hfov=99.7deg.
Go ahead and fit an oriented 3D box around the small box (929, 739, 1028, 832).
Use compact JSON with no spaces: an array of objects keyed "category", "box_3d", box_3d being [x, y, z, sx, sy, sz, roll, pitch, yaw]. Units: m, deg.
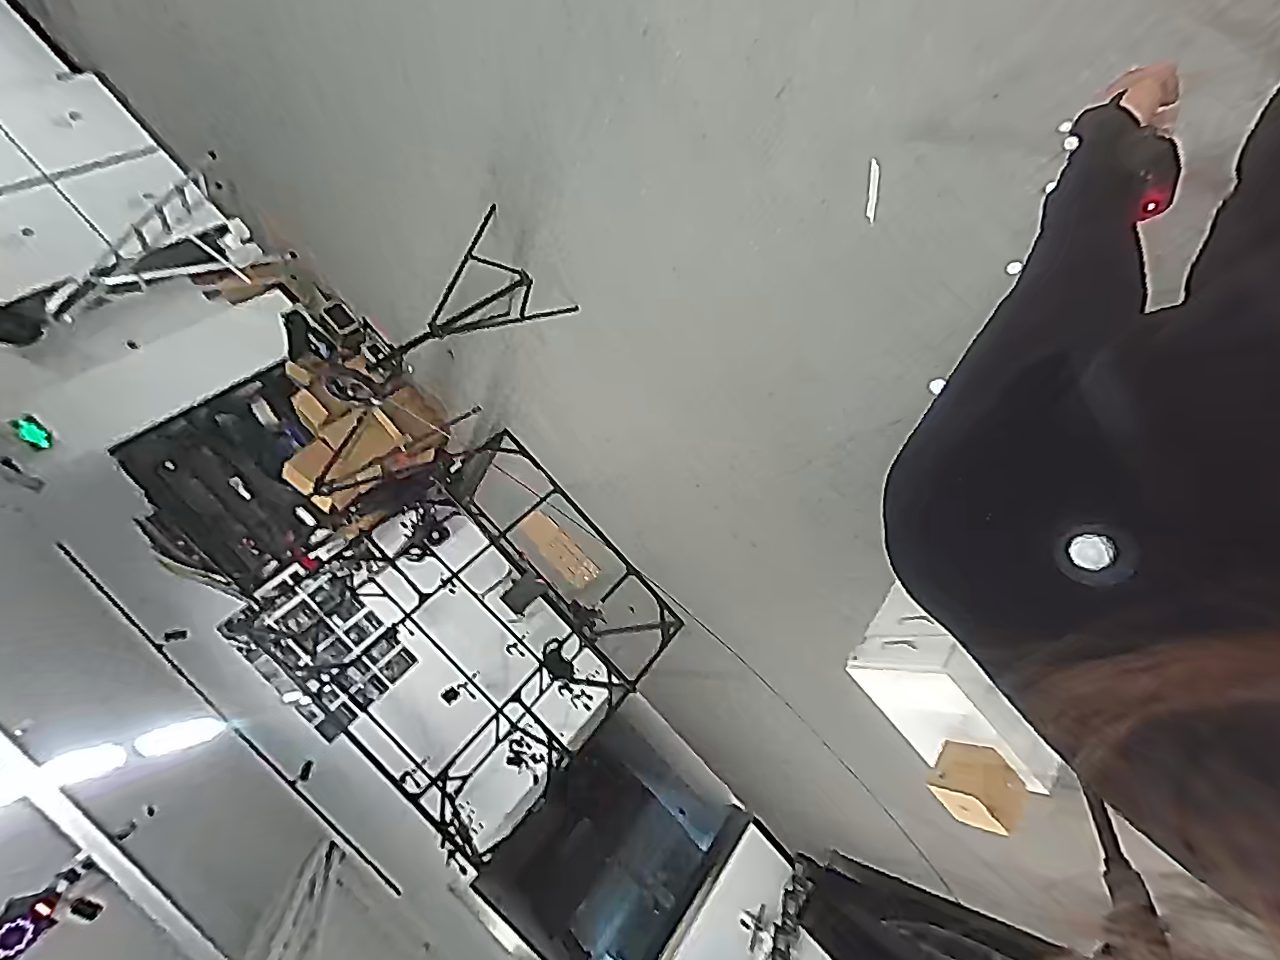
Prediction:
[{"category":"small box","box_3d":[1.051,0.937,1.679,0.168,0.176,0.179,48,152,-4]}]
